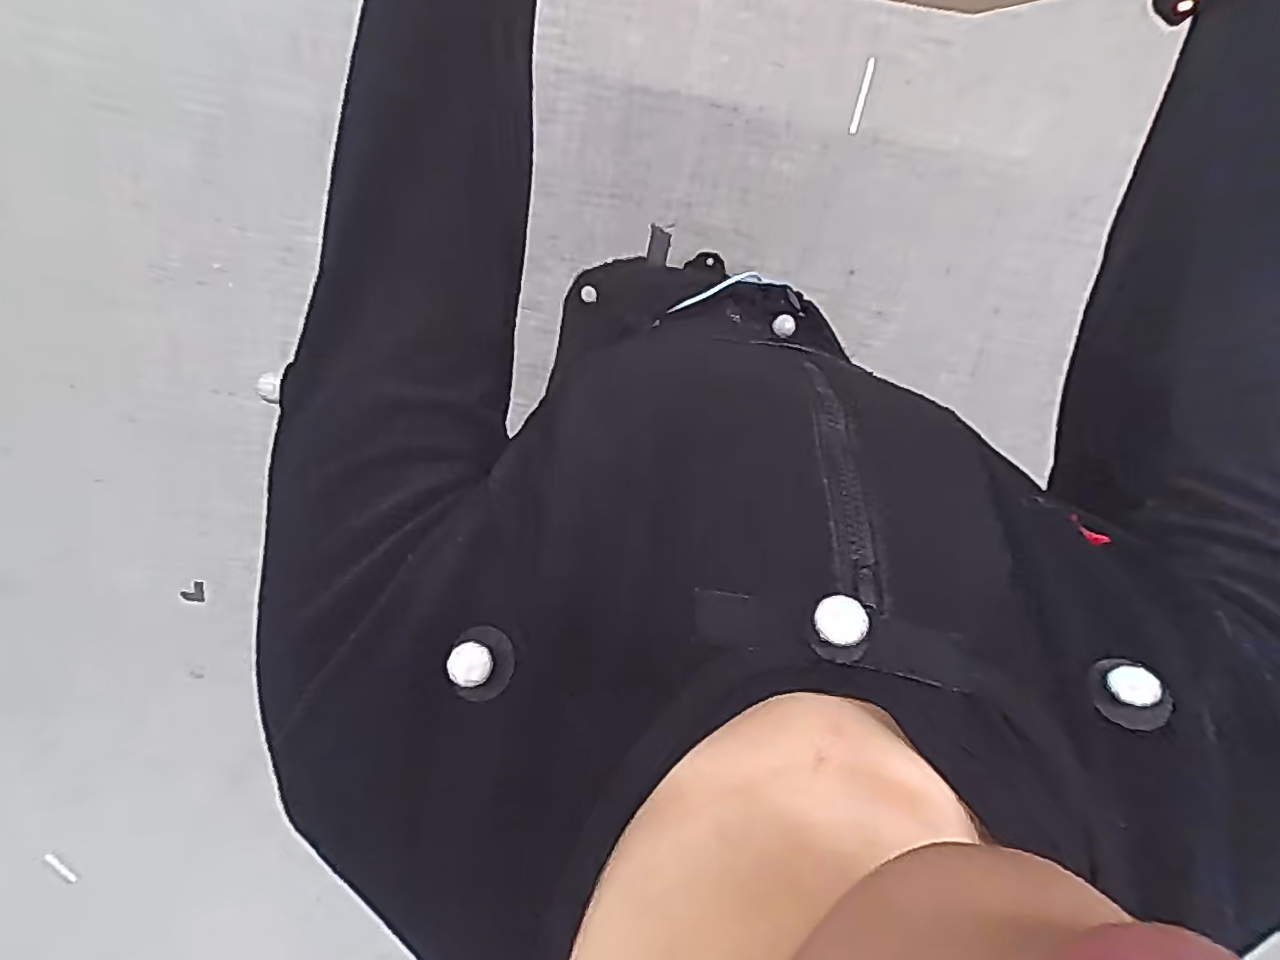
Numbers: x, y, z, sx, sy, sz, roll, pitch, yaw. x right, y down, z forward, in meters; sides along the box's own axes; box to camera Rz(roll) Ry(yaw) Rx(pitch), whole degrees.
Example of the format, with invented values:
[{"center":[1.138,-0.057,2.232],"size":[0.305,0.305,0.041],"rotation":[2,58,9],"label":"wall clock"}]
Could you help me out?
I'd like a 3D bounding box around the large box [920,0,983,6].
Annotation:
[{"center":[0.172,-0.574,0.379],"size":[0.408,0.320,0.320],"rotation":[8,128,-2],"label":"large box"}]
